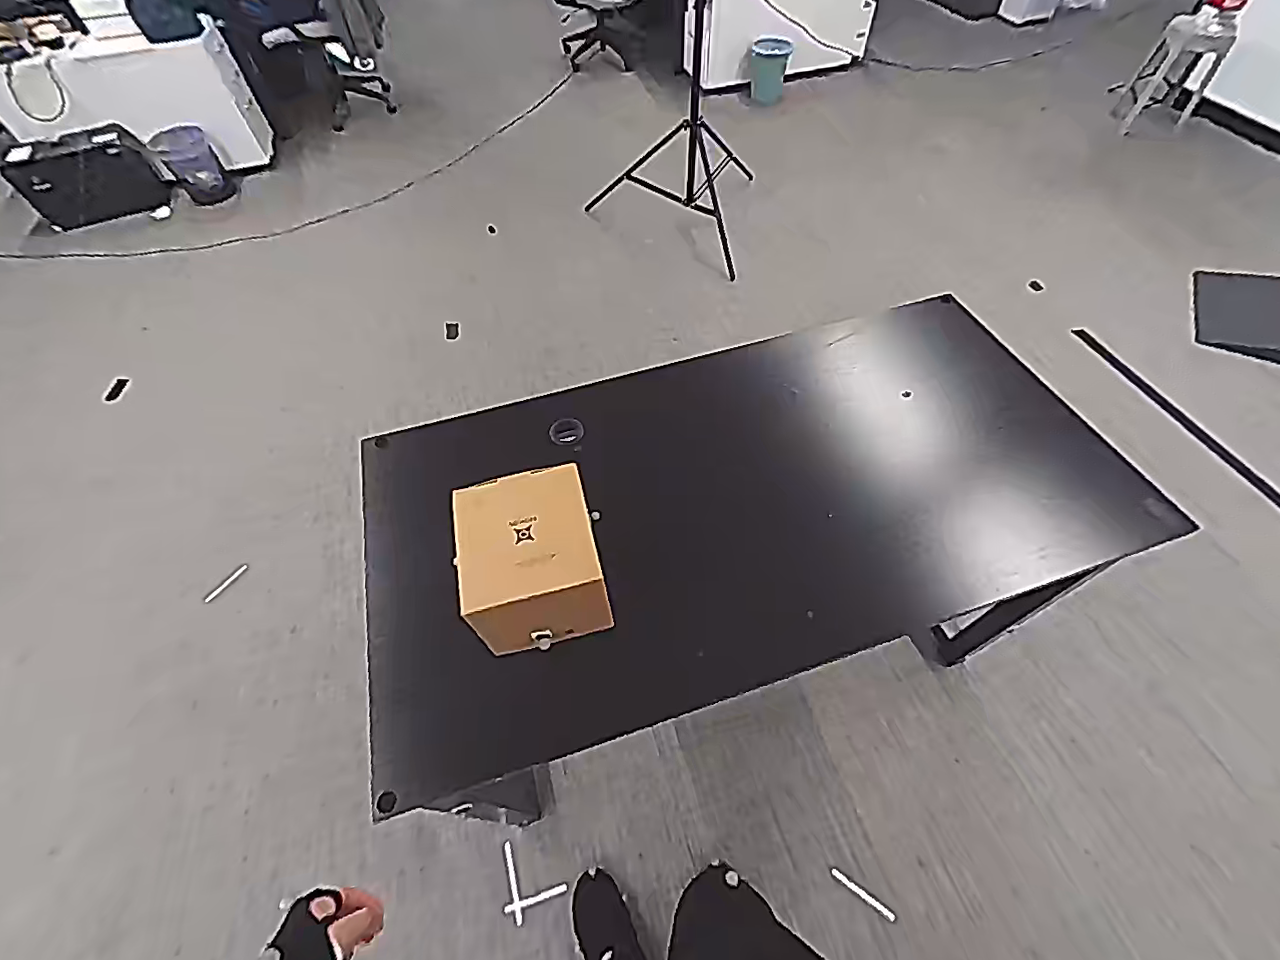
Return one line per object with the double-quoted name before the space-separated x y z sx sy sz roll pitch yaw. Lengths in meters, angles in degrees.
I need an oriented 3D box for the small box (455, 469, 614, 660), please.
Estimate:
"small box" -0.137 0.116 0.725 0.168 0.176 0.179 -14 57 -6
